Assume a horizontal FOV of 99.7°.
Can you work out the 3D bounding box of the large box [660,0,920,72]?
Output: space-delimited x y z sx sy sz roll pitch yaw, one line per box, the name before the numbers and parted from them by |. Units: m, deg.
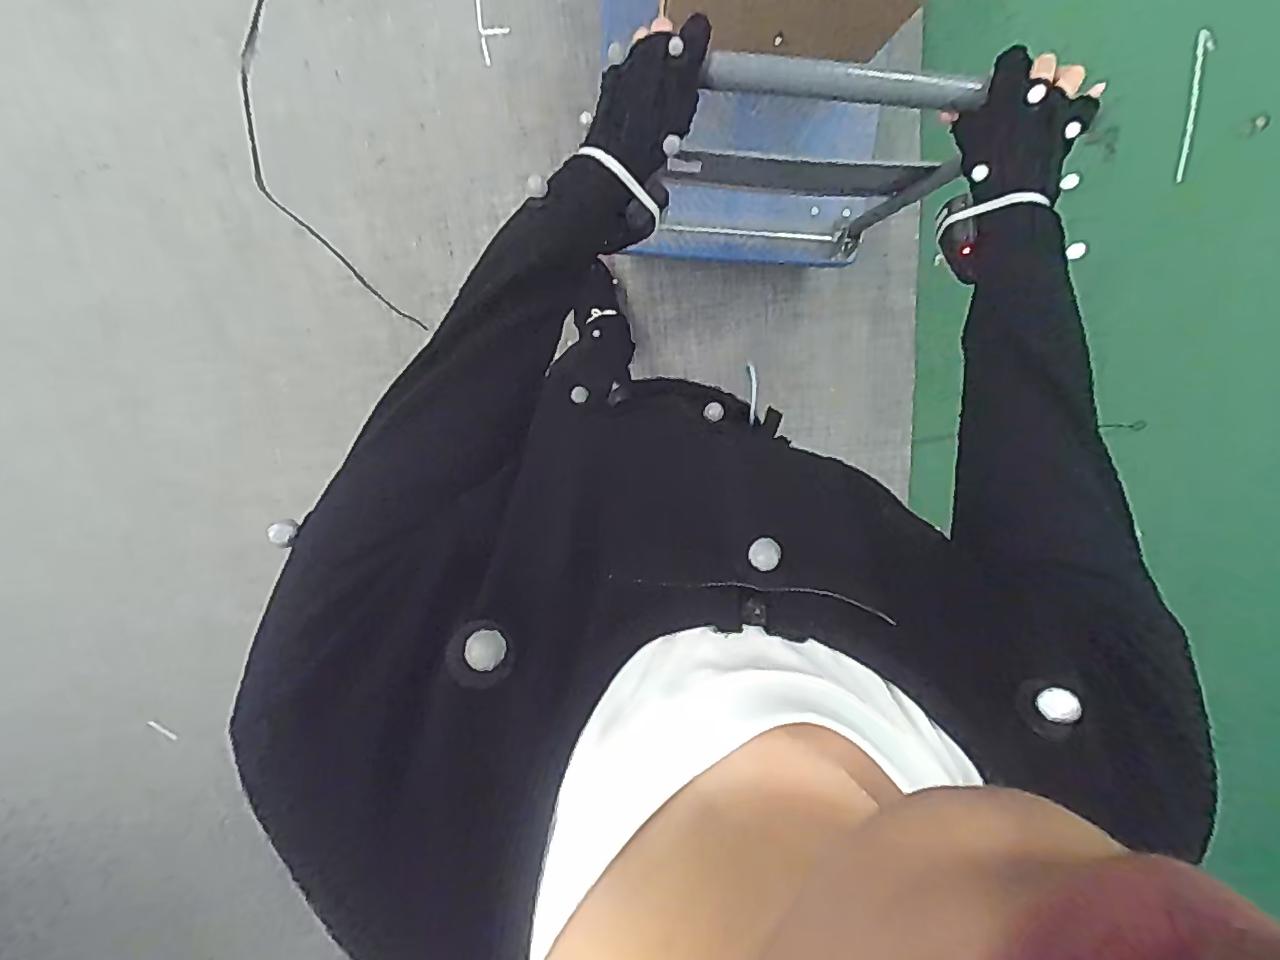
large box | 0.247 -0.932 0.907 0.408 0.320 0.320 1 105 -2
